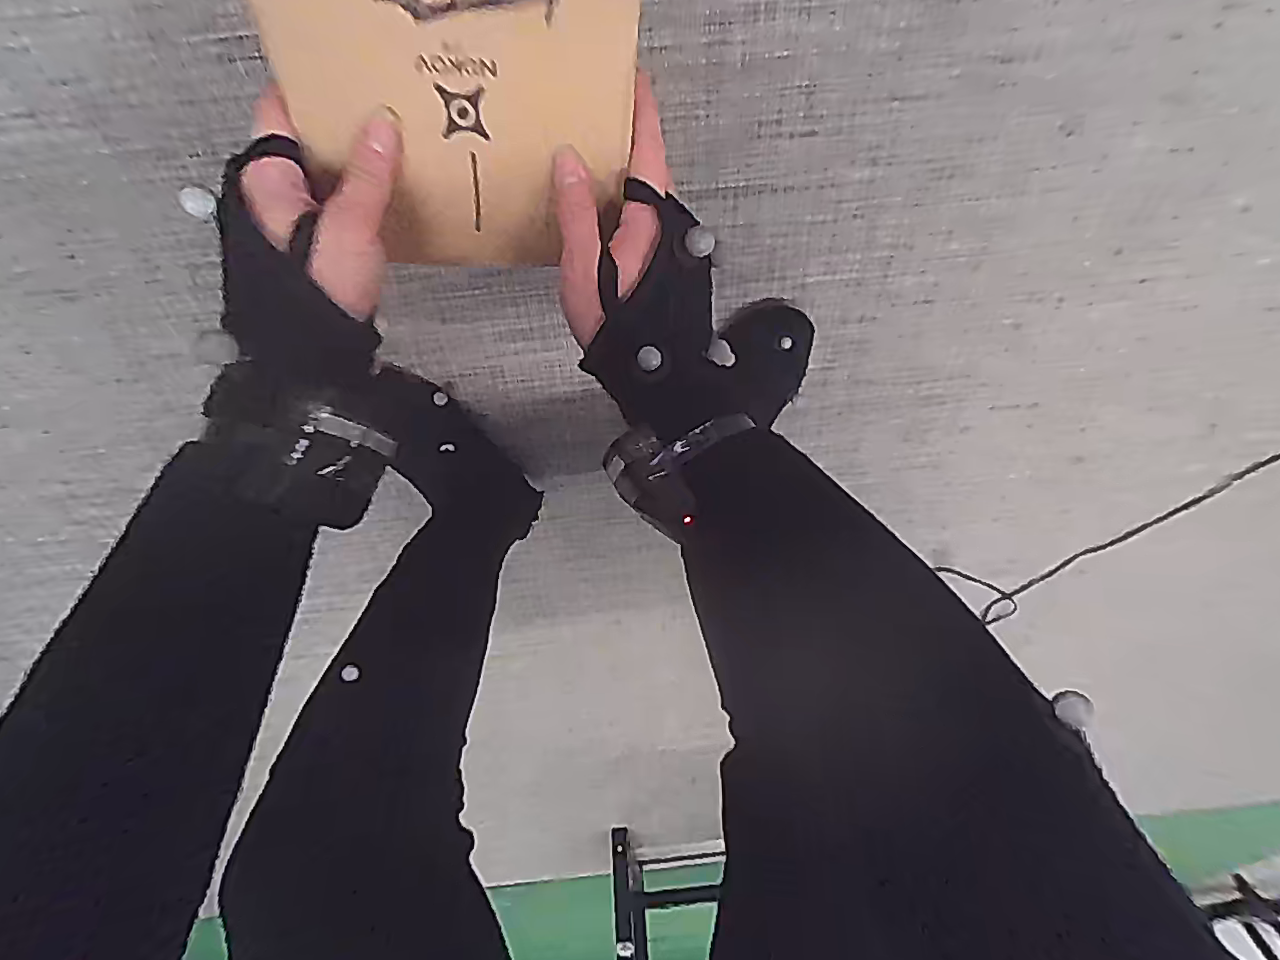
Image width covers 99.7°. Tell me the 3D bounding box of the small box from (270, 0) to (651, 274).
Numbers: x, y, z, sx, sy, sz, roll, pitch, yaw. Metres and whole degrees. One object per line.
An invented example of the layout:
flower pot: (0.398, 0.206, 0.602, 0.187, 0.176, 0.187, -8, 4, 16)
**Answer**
small box: (-0.090, -0.249, 0.318, 0.168, 0.176, 0.179, -1, 144, -8)
